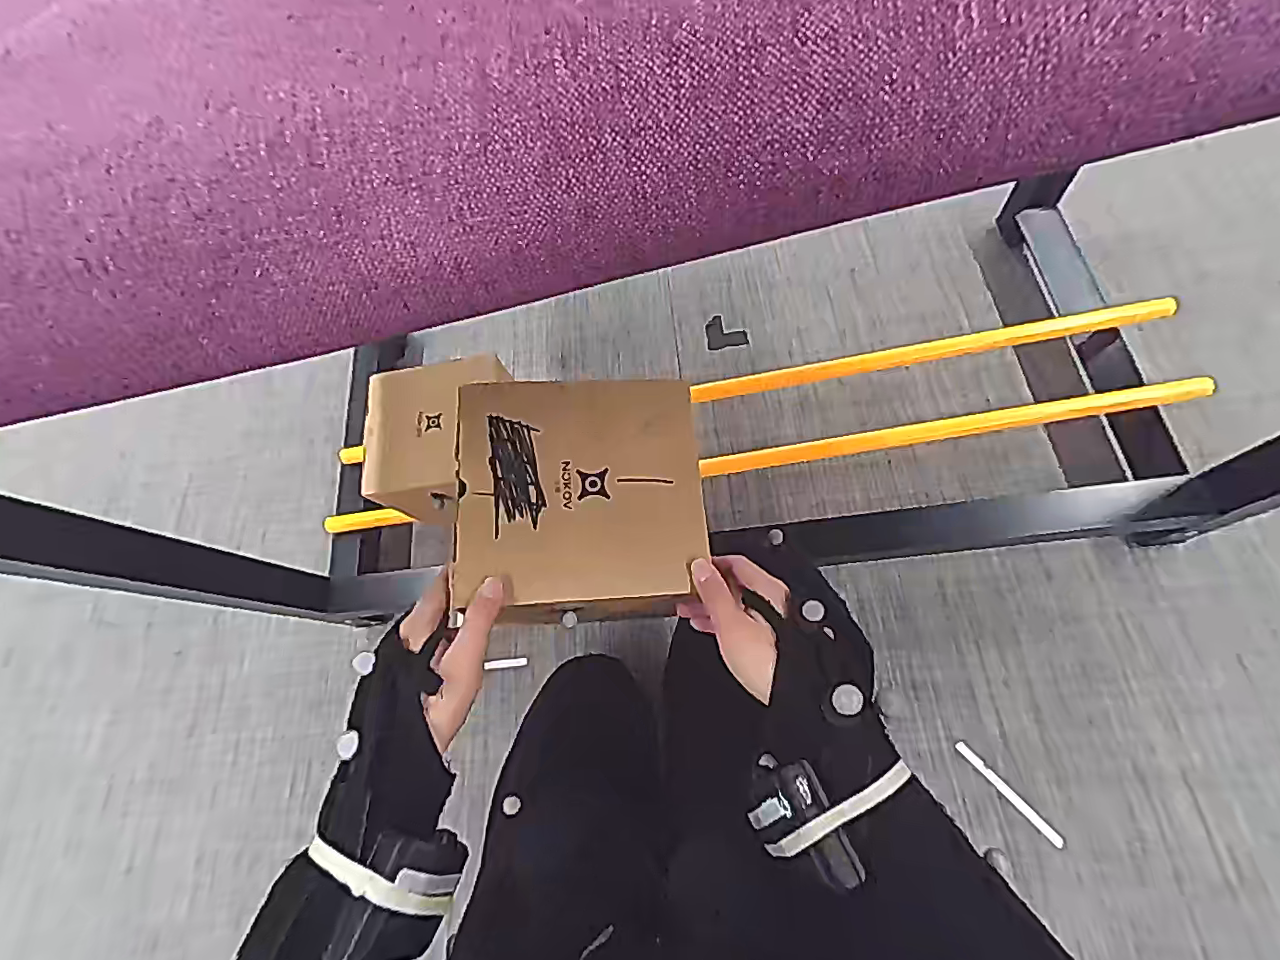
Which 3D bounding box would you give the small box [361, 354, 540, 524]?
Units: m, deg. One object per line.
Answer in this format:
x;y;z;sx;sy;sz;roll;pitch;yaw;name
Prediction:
-0.241;-0.045;0.734;0.179;0.176;0.168;-8;70;8;small box
